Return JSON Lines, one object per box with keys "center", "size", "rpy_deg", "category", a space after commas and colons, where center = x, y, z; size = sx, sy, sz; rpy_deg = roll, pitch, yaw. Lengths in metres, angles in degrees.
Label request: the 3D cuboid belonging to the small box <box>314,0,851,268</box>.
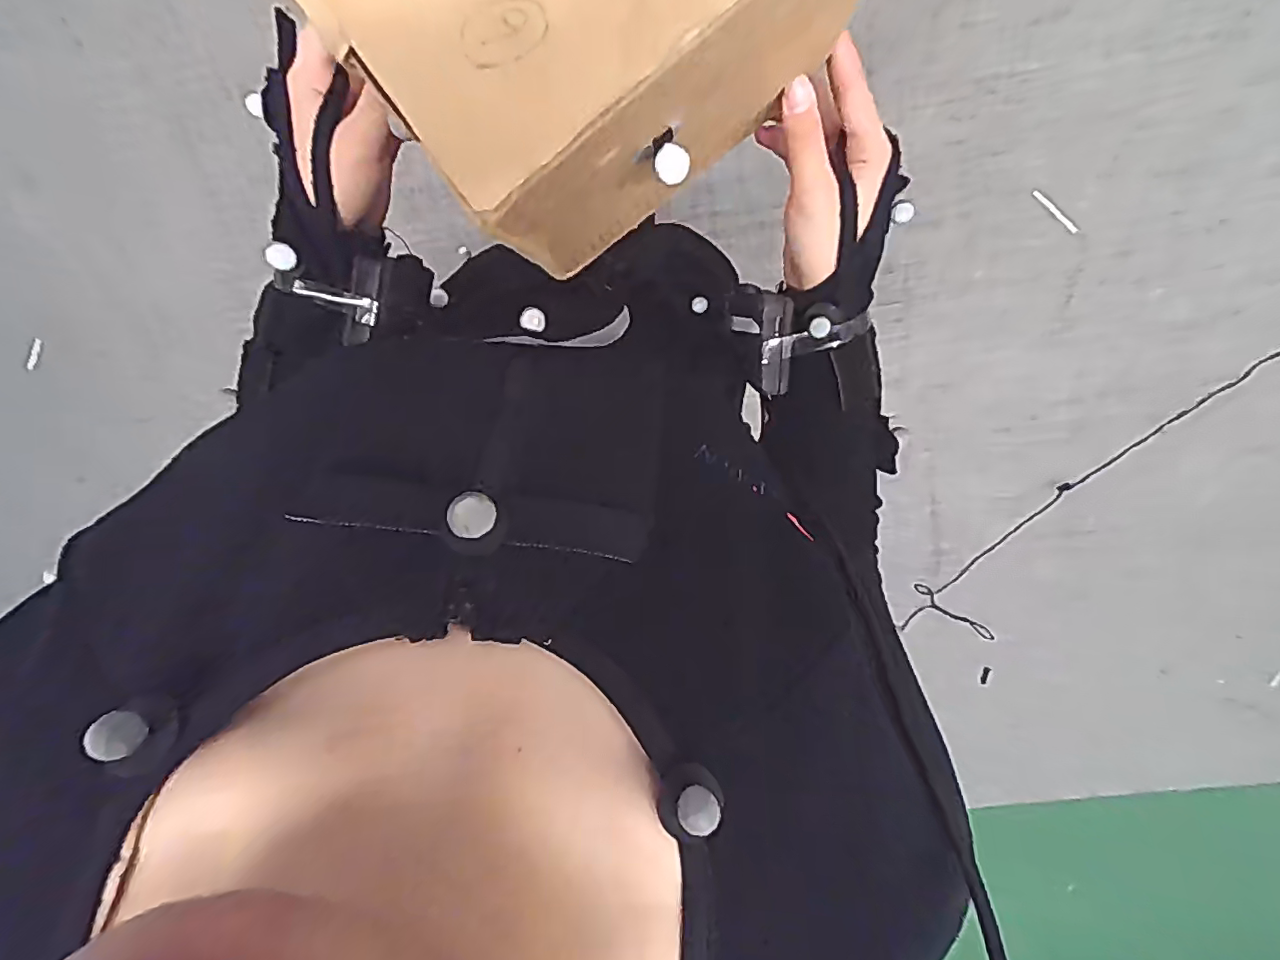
{"center": [-0.022, -0.210, 0.217], "size": [0.179, 0.176, 0.168], "rpy_deg": [-35, 101, 11], "category": "small box"}
